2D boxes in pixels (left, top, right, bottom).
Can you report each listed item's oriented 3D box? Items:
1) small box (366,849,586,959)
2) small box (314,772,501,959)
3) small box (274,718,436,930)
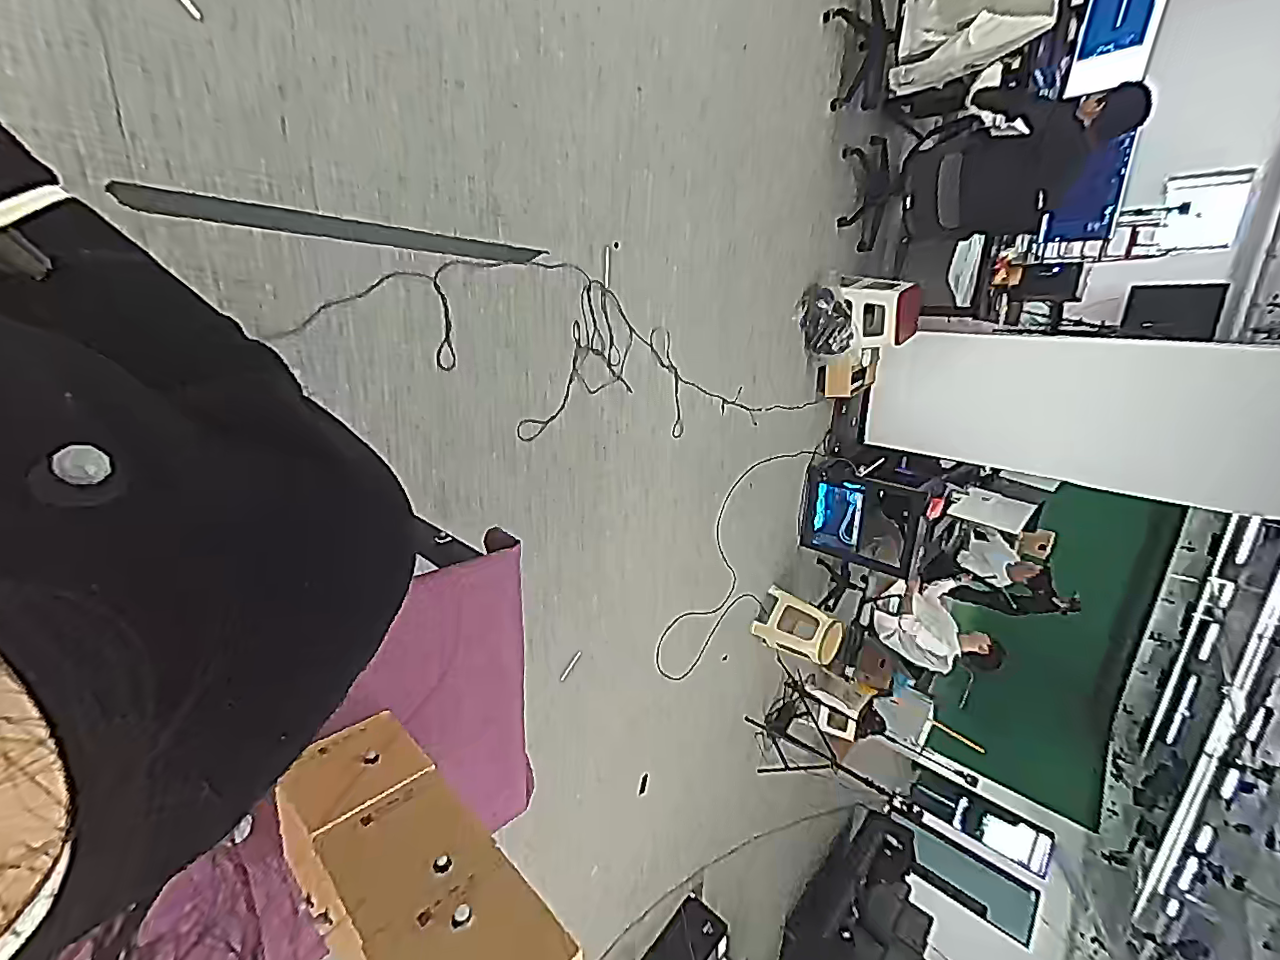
[{"bbox_3d":[-0.178,0.564,0.589,0.168,0.176,0.179,-14,113,-46],"label":"small box"},{"bbox_3d":[-0.297,0.528,0.698,0.168,0.176,0.179,-15,115,-46],"label":"small box"},{"bbox_3d":[-0.417,0.485,0.800,0.168,0.176,0.179,-14,114,-46],"label":"small box"}]
